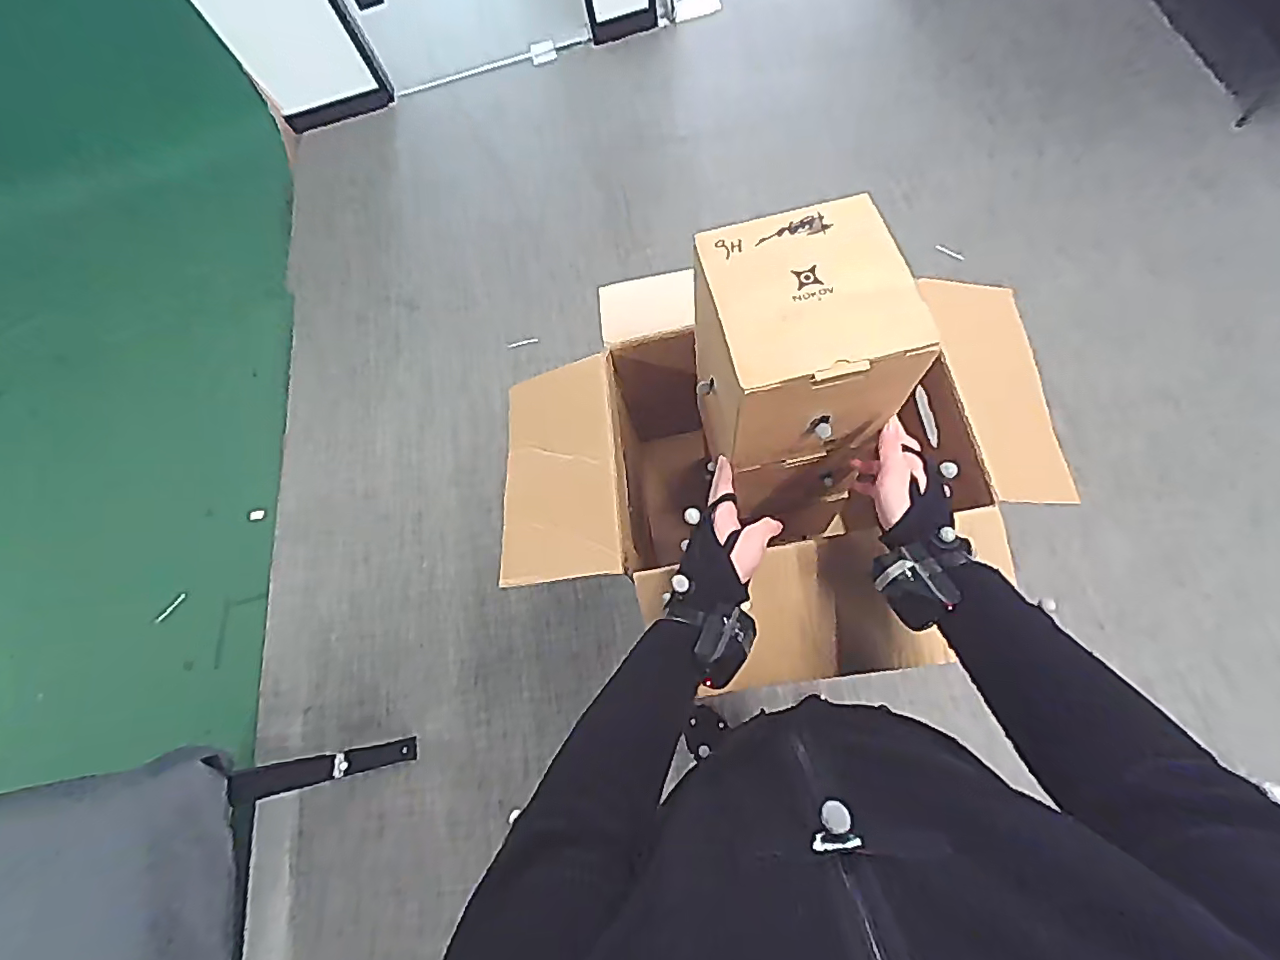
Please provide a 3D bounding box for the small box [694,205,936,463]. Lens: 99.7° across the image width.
[{"bbox_3d":[0.154,-0.129,0.540,0.168,0.176,0.179,-12,68,1],"label":"small box"}]
